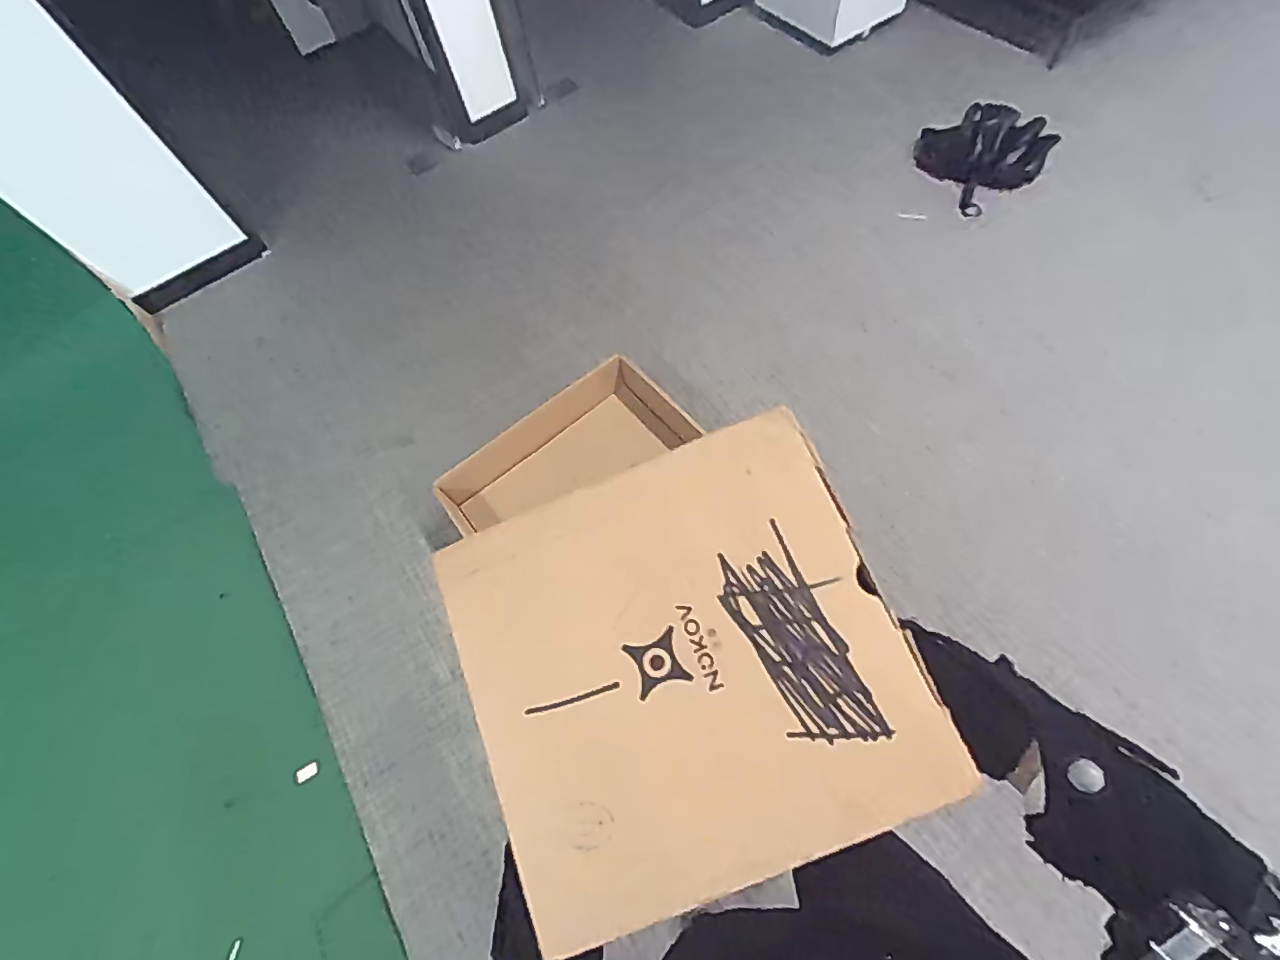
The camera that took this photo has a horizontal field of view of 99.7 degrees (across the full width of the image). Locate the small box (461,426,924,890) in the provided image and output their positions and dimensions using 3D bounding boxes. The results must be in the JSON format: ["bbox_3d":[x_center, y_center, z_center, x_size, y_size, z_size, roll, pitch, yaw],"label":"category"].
[{"bbox_3d":[0.025,0.094,0.328,0.179,0.176,0.168,-22,73,2],"label":"small box"}]
